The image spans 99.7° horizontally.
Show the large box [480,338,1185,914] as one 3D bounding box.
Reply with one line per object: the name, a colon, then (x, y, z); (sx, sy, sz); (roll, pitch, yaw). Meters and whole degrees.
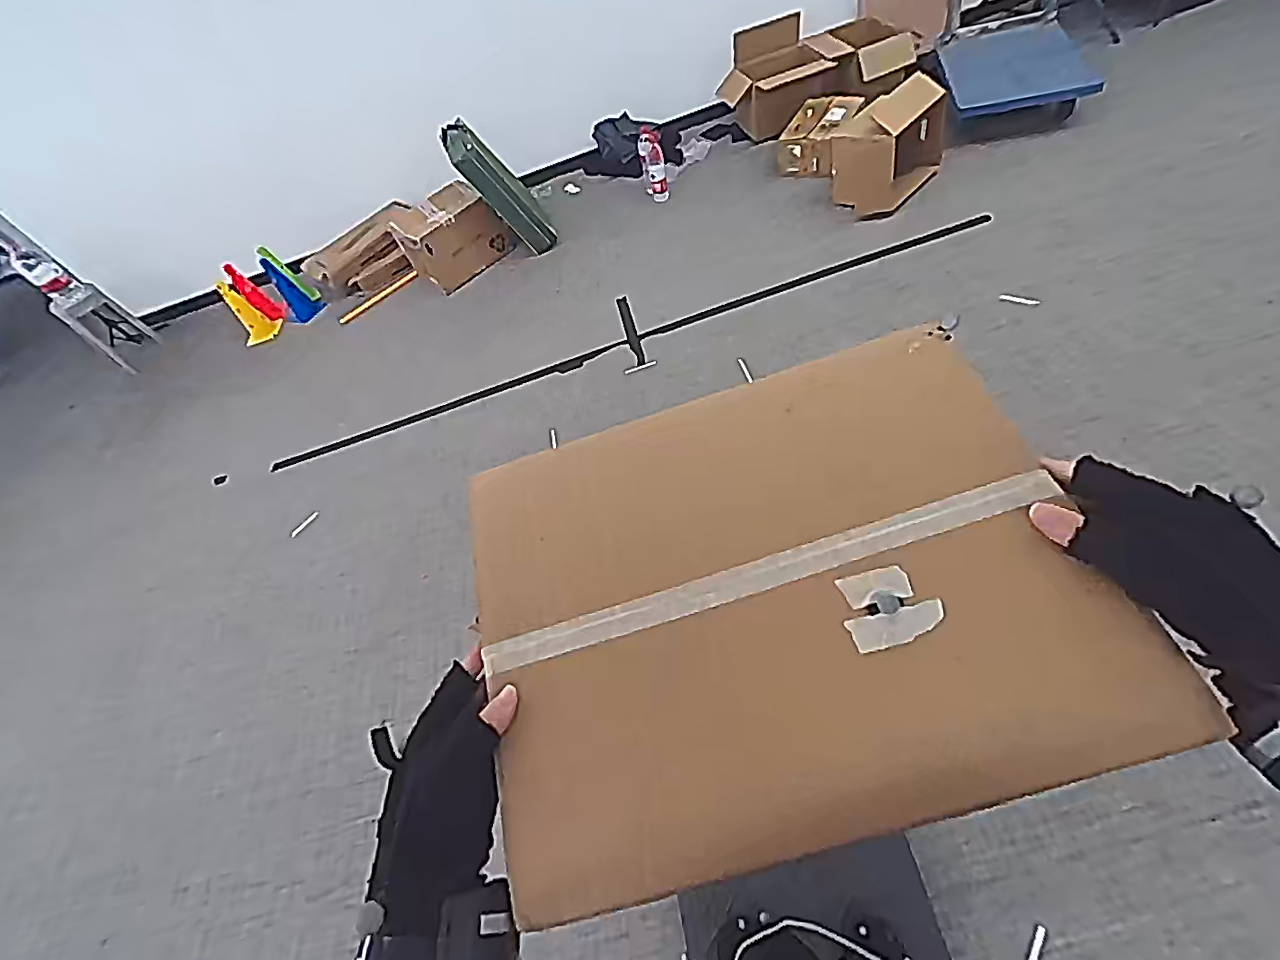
large box: (0.113, 0.138, 0.515); (0.408, 0.320, 0.320); (-18, 61, 3)
